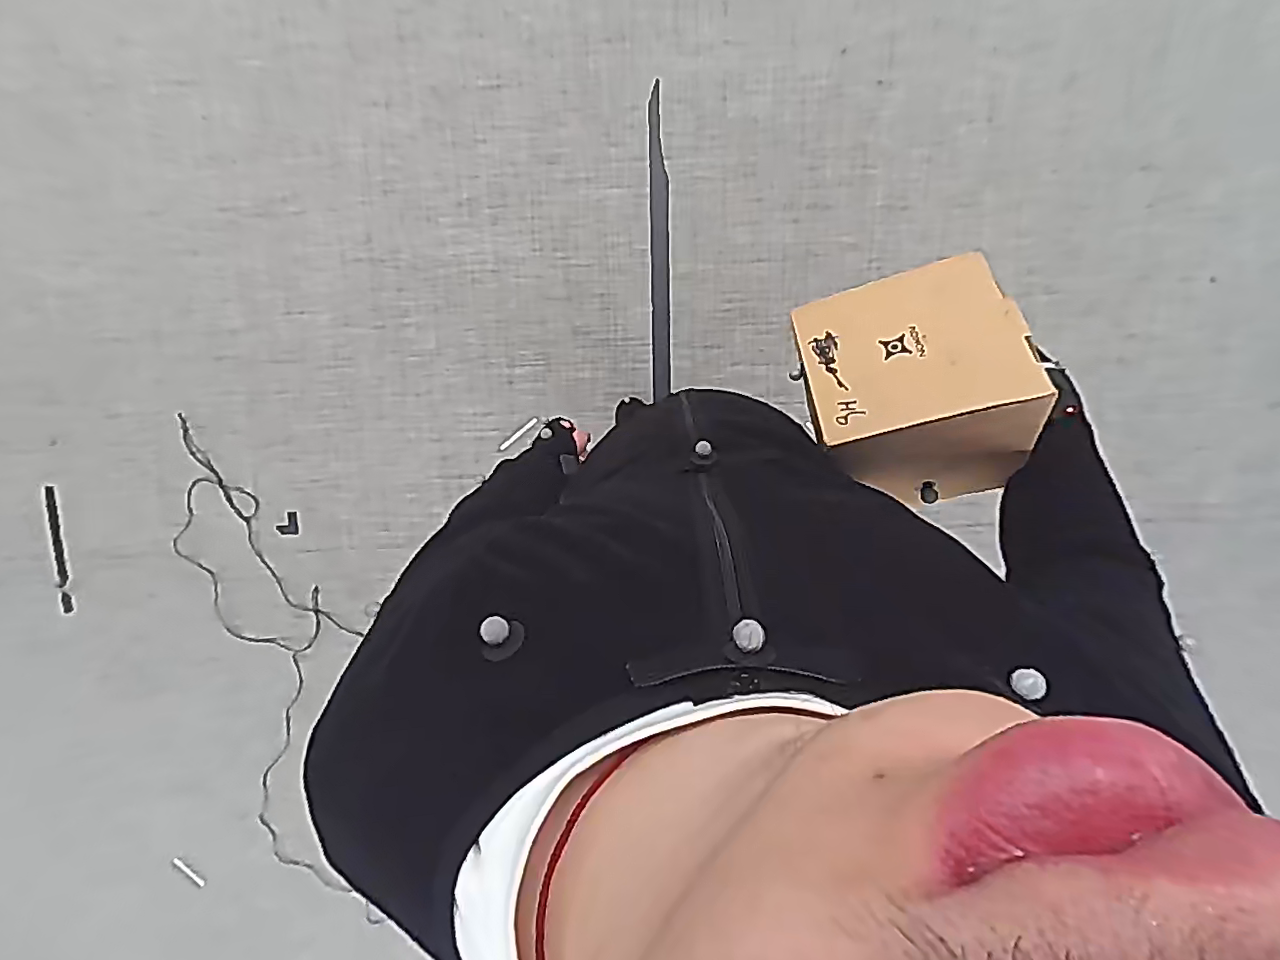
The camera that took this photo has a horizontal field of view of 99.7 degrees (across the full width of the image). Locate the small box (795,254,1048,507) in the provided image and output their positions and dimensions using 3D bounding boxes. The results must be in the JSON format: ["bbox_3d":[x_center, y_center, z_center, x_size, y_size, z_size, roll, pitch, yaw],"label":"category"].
[{"bbox_3d":[0.269,-0.089,0.558,0.179,0.176,0.168,-13,59,17],"label":"small box"}]
